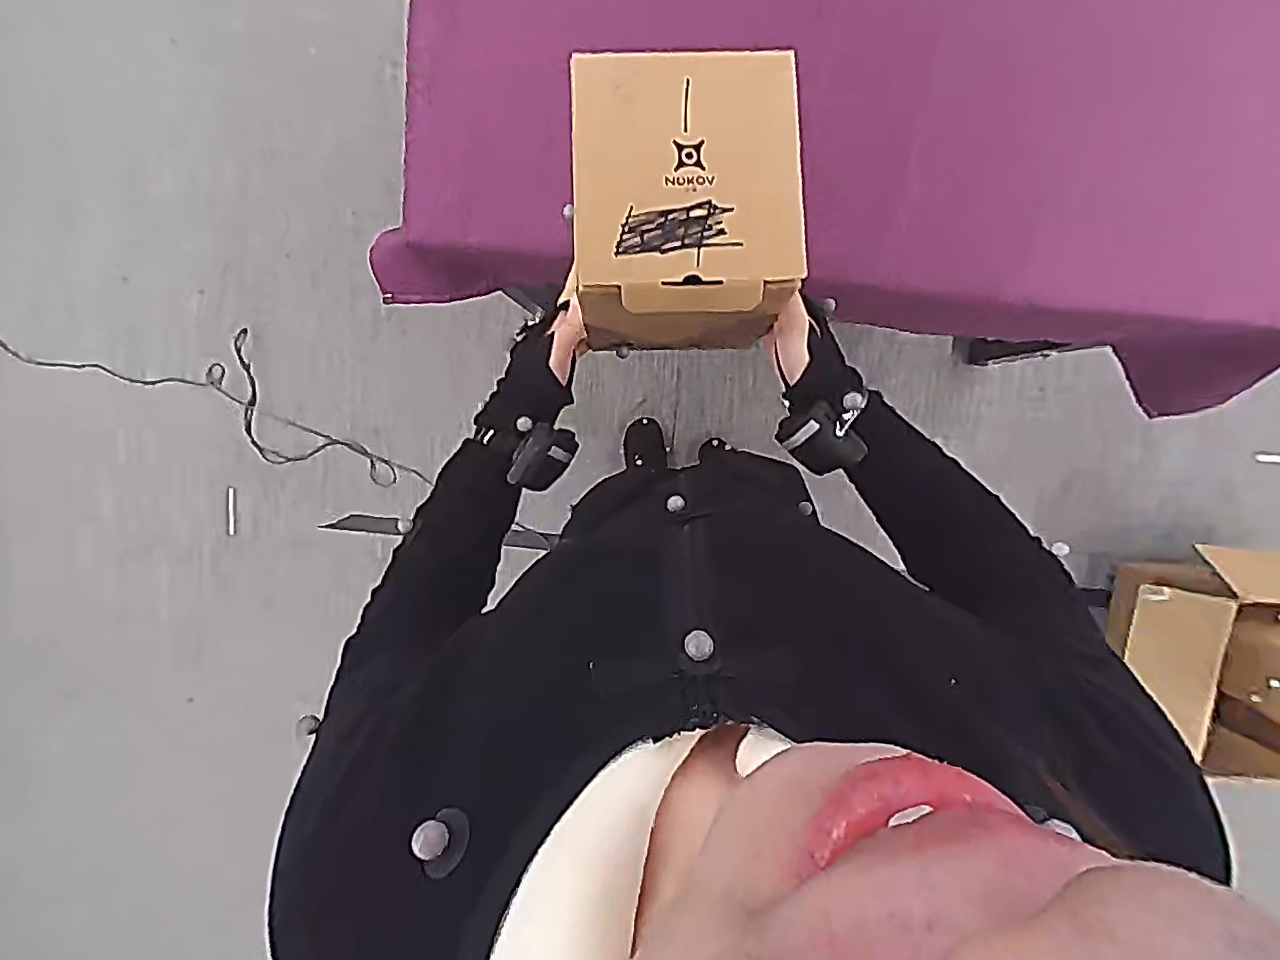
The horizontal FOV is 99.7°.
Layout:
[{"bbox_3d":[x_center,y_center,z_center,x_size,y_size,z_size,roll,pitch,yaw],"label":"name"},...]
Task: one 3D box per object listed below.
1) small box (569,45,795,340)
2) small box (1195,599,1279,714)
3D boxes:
[{"bbox_3d":[0.030,-0.227,0.471,0.168,0.176,0.179,-1,87,-2],"label":"small box"},{"bbox_3d":[1.408,0.383,1.211,0.168,0.176,0.179,-16,99,8],"label":"small box"}]
